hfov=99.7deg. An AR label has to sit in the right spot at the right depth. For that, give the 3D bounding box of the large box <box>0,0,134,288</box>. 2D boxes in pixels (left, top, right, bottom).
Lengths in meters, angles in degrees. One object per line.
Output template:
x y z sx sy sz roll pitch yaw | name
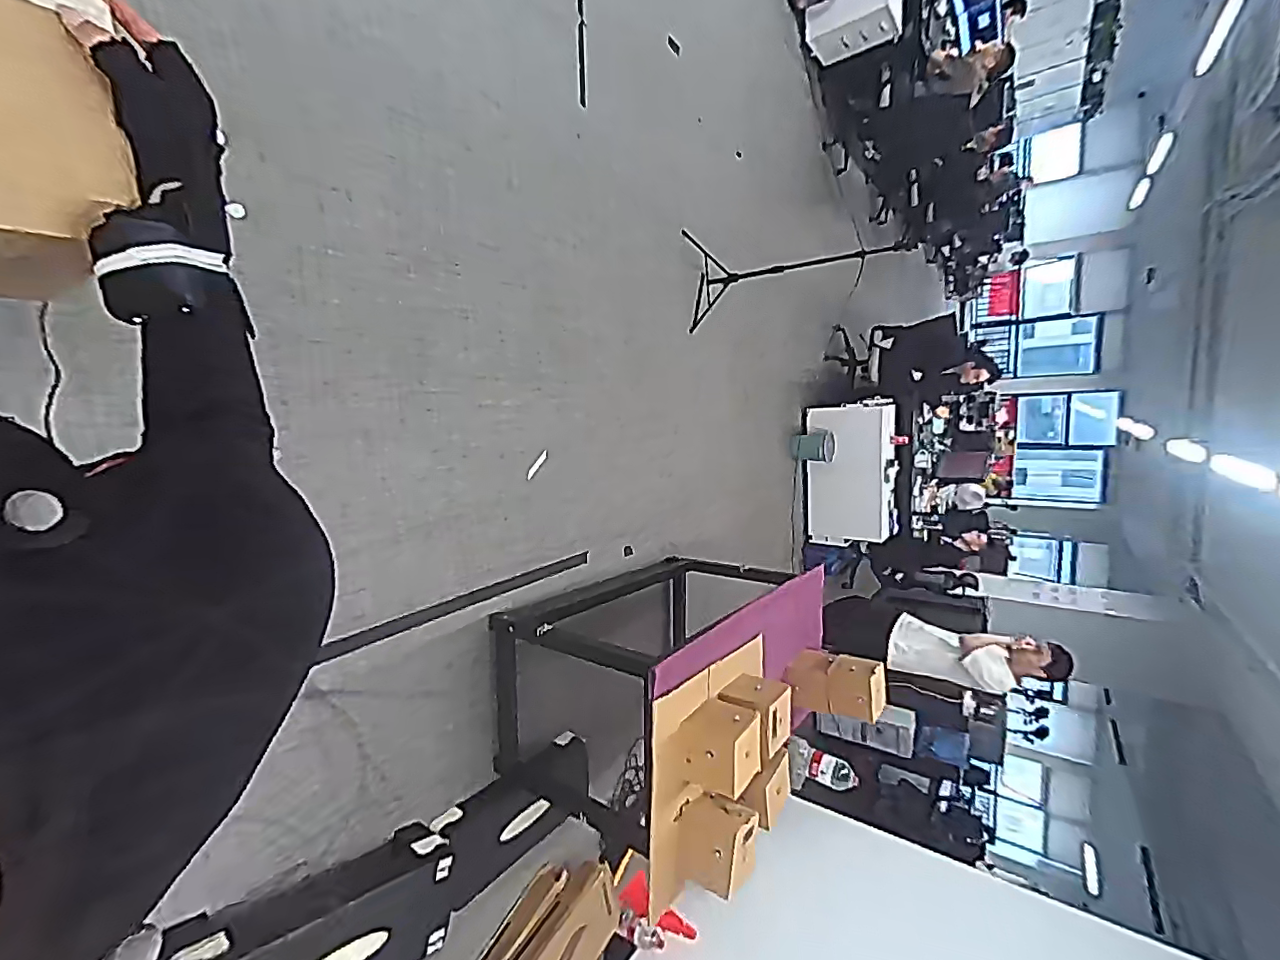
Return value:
-0.634 -0.316 0.319 0.408 0.320 0.320 -14 106 -54 | large box
